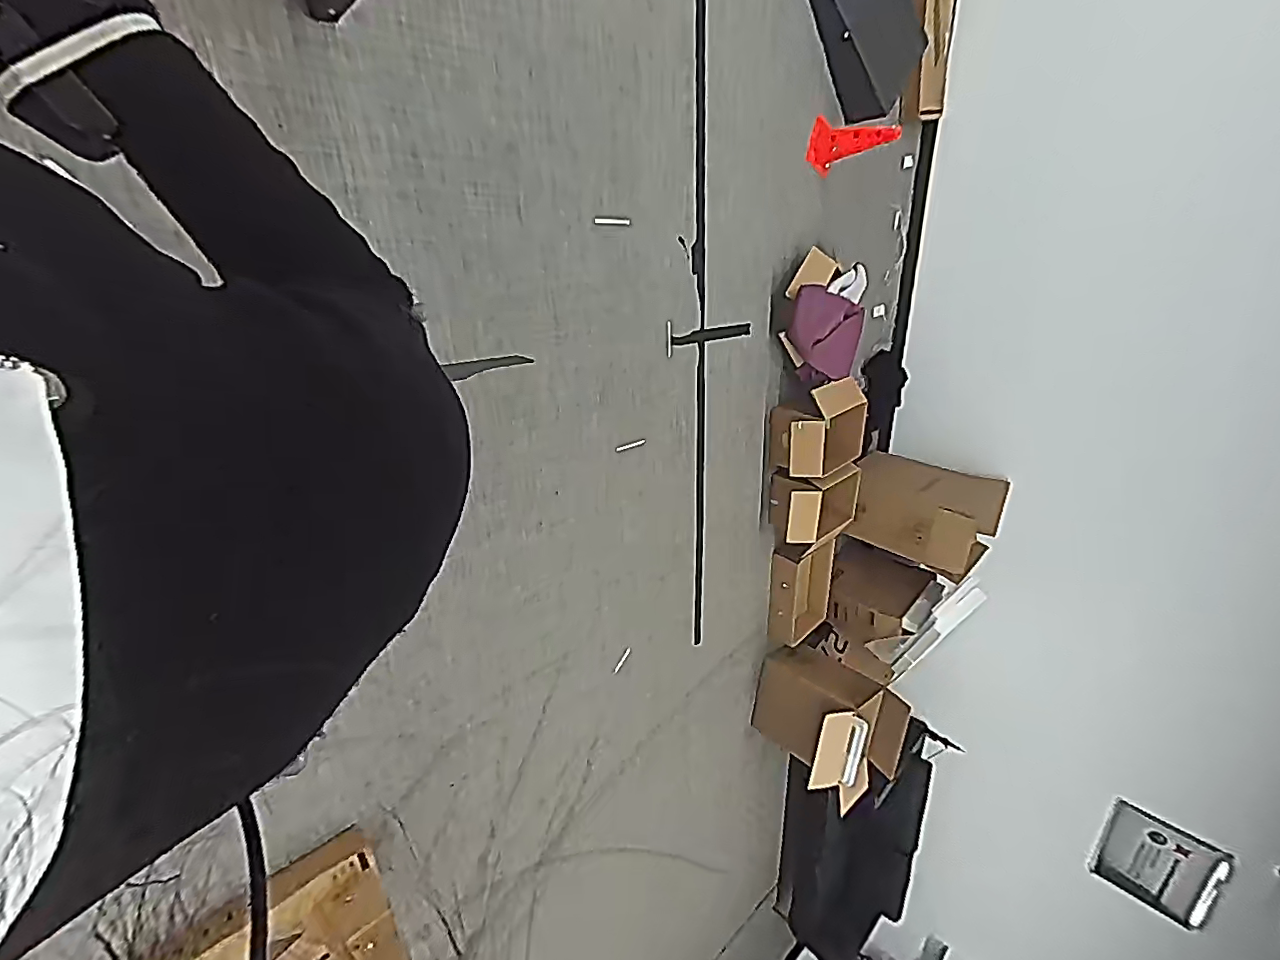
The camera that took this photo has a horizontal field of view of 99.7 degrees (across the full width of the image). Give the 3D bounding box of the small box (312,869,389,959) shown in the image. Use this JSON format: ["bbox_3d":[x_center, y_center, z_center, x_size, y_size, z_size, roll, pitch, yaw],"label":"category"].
[{"bbox_3d":[-0.849,1.321,1.608,0.168,0.176,0.179,-22,120,-38],"label":"small box"}]

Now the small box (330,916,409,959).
[{"bbox_3d":[-0.736,1.381,1.504,0.168,0.176,0.179,-23,121,-37],"label":"small box"}]
